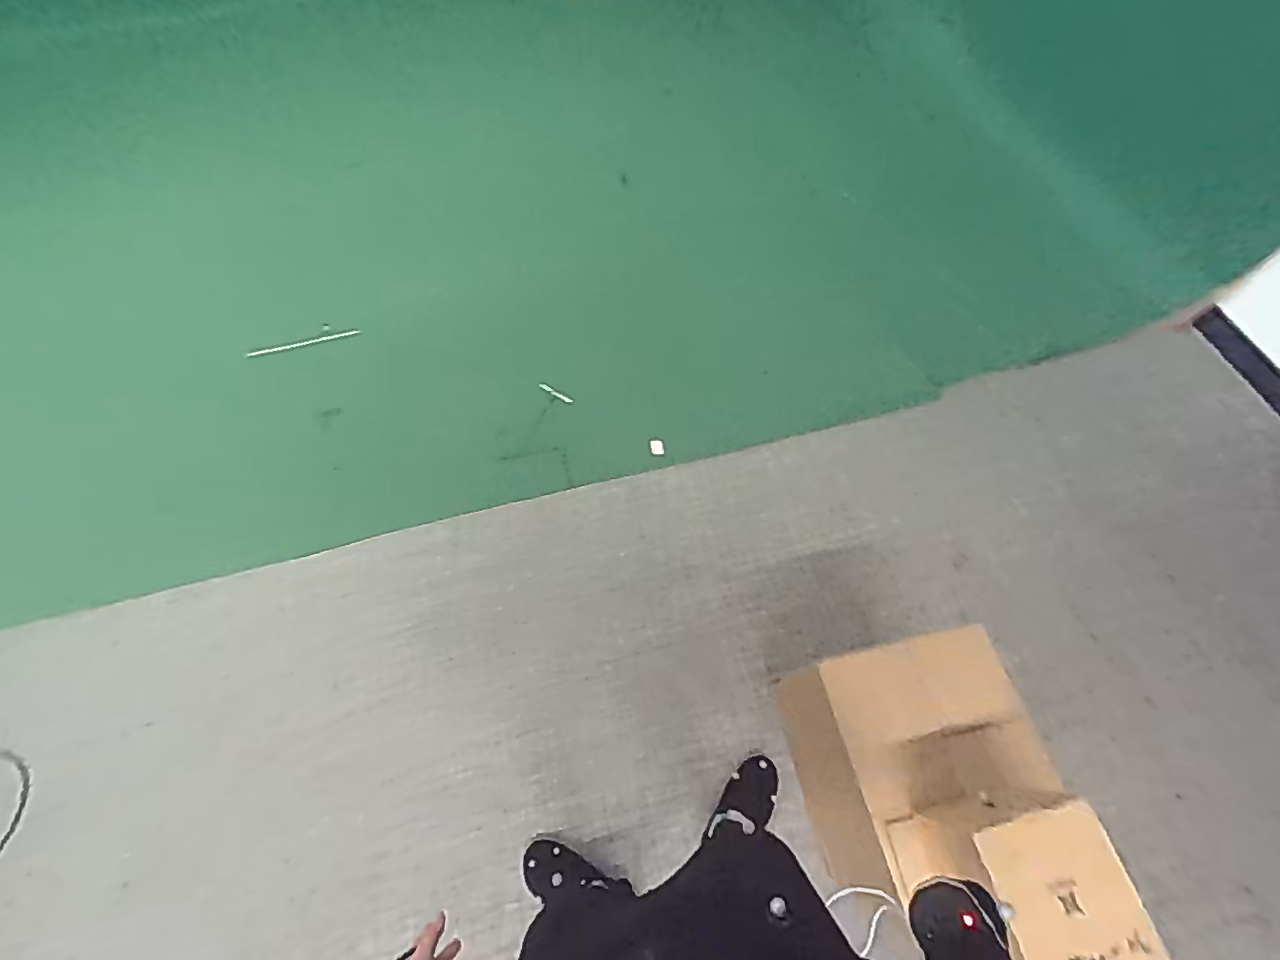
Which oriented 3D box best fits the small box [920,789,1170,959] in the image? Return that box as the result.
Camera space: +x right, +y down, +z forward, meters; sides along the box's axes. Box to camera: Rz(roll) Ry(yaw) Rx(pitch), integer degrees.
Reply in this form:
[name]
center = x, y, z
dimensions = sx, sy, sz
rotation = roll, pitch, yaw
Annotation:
[small box]
center = 0.514, 0.528, 0.722
dimensions = 0.168, 0.176, 0.179
rotation = -13, 64, -4
